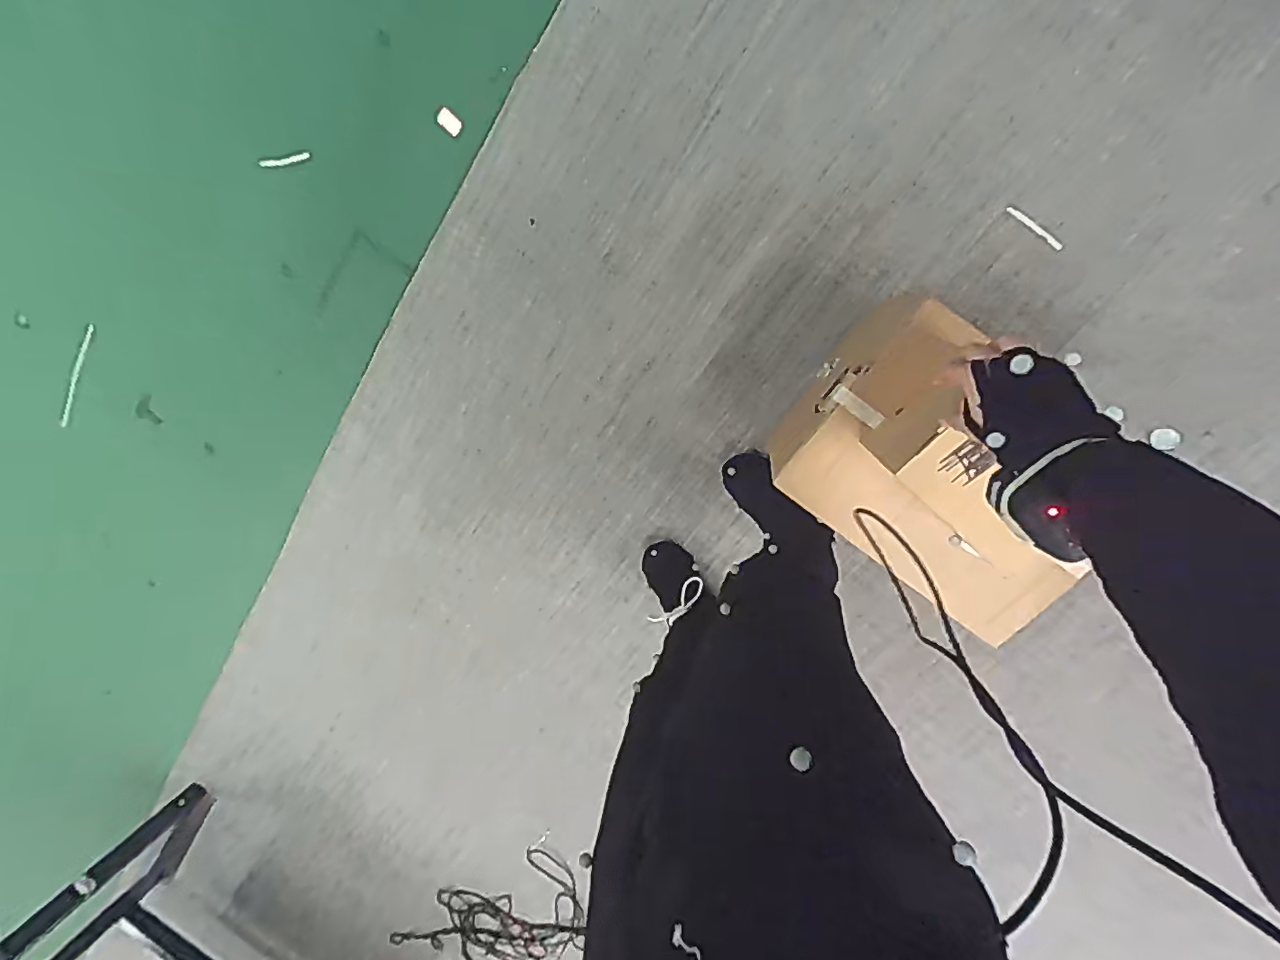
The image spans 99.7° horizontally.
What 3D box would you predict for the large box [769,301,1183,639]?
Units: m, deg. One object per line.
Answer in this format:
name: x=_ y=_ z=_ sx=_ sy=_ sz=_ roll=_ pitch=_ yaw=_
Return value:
large box: x=0.465 y=-0.039 z=0.865 sx=0.408 sy=0.320 sz=0.320 roll=36 pitch=111 yaw=-1
